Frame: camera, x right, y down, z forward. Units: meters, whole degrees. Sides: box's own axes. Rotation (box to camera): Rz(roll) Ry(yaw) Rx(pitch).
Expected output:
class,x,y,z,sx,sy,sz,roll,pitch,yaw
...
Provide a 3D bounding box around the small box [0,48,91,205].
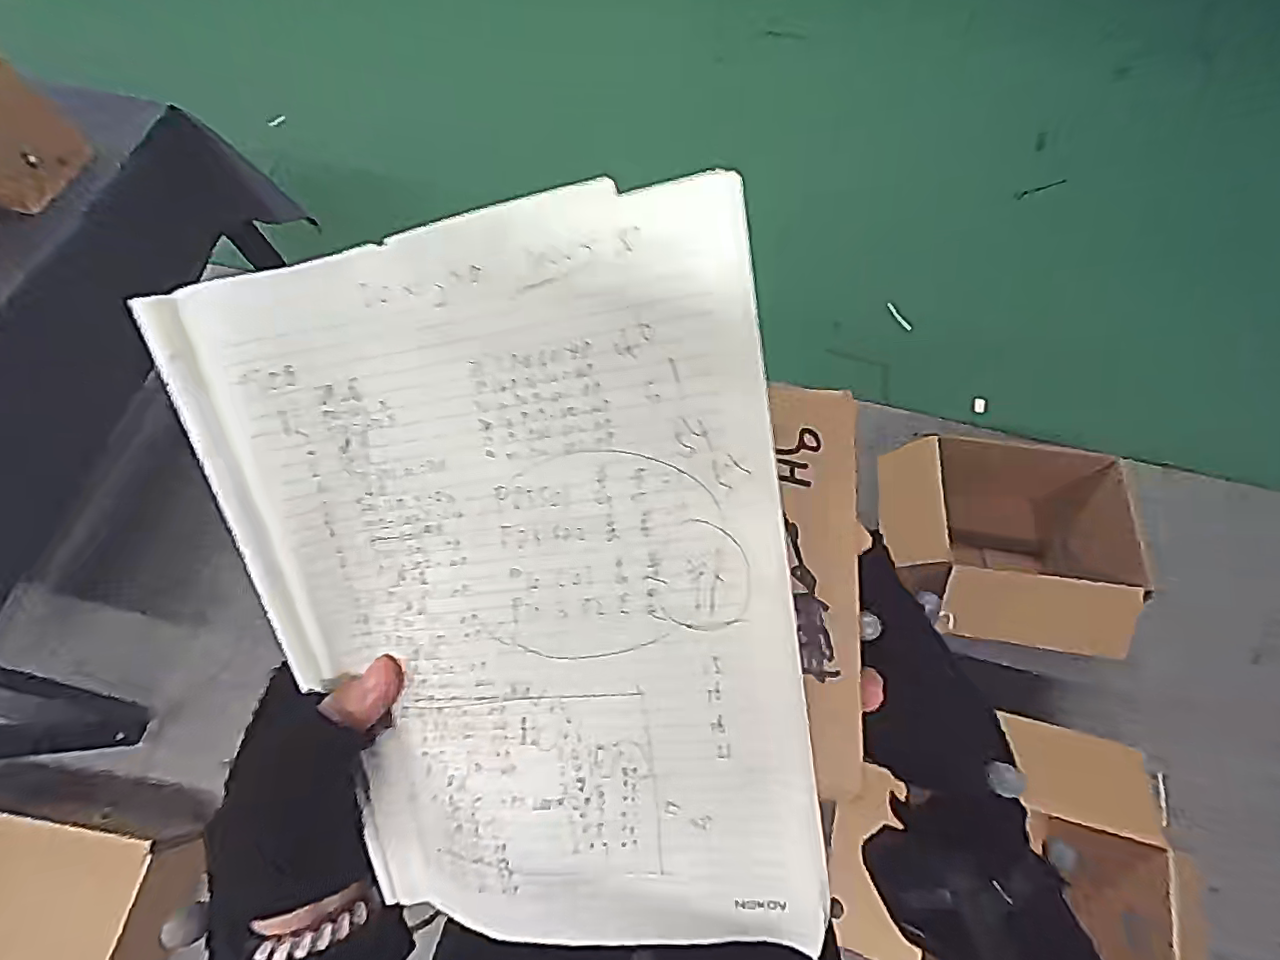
class,x,y,z,sx,sy,sz,roll,pitch,yaw
small box,-1.076,-0.577,0.869,0.179,0.176,0.168,16,68,6
